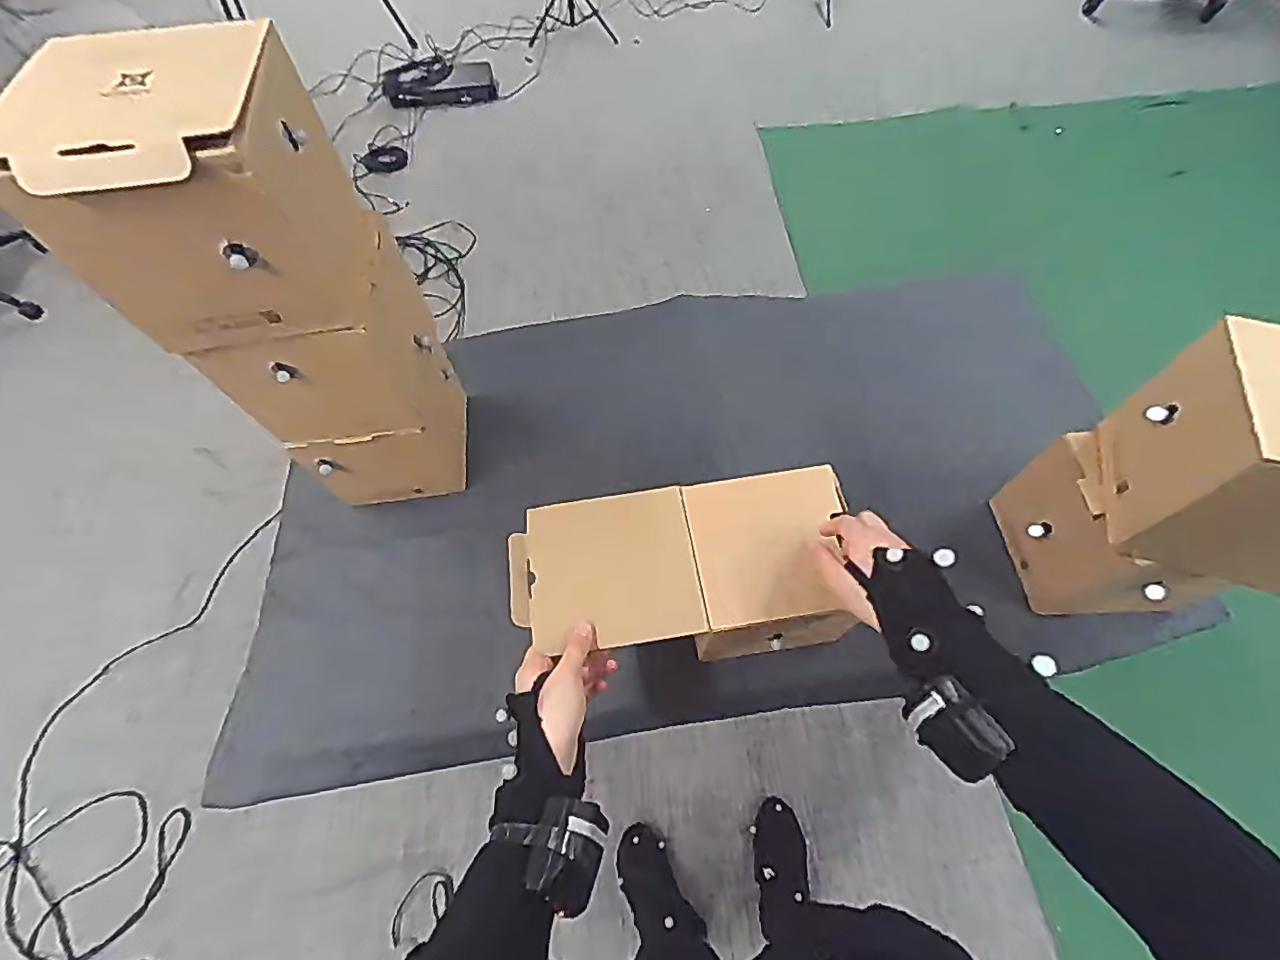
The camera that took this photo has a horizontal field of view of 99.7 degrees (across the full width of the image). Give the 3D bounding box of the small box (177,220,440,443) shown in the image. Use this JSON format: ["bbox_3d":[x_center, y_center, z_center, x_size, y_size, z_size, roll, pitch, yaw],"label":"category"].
[{"bbox_3d":[-0.342,-0.154,0.599,0.179,0.176,0.168,-7,63,-3],"label":"small box"}]

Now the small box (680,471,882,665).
[{"bbox_3d":[0.145,0.109,0.631,0.179,0.176,0.168,-9,61,-1],"label":"small box"}]

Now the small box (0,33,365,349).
[{"bbox_3d":[-0.352,-0.228,0.455,0.168,0.176,0.179,-10,62,-5],"label":"small box"}]

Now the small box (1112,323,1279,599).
[{"bbox_3d":[0.576,-0.009,0.491,0.179,0.176,0.168,17,61,11],"label":"small box"}]

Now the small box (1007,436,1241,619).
[{"bbox_3d":[0.577,0.061,0.640,0.179,0.176,0.168,-3,59,2],"label":"small box"}]
